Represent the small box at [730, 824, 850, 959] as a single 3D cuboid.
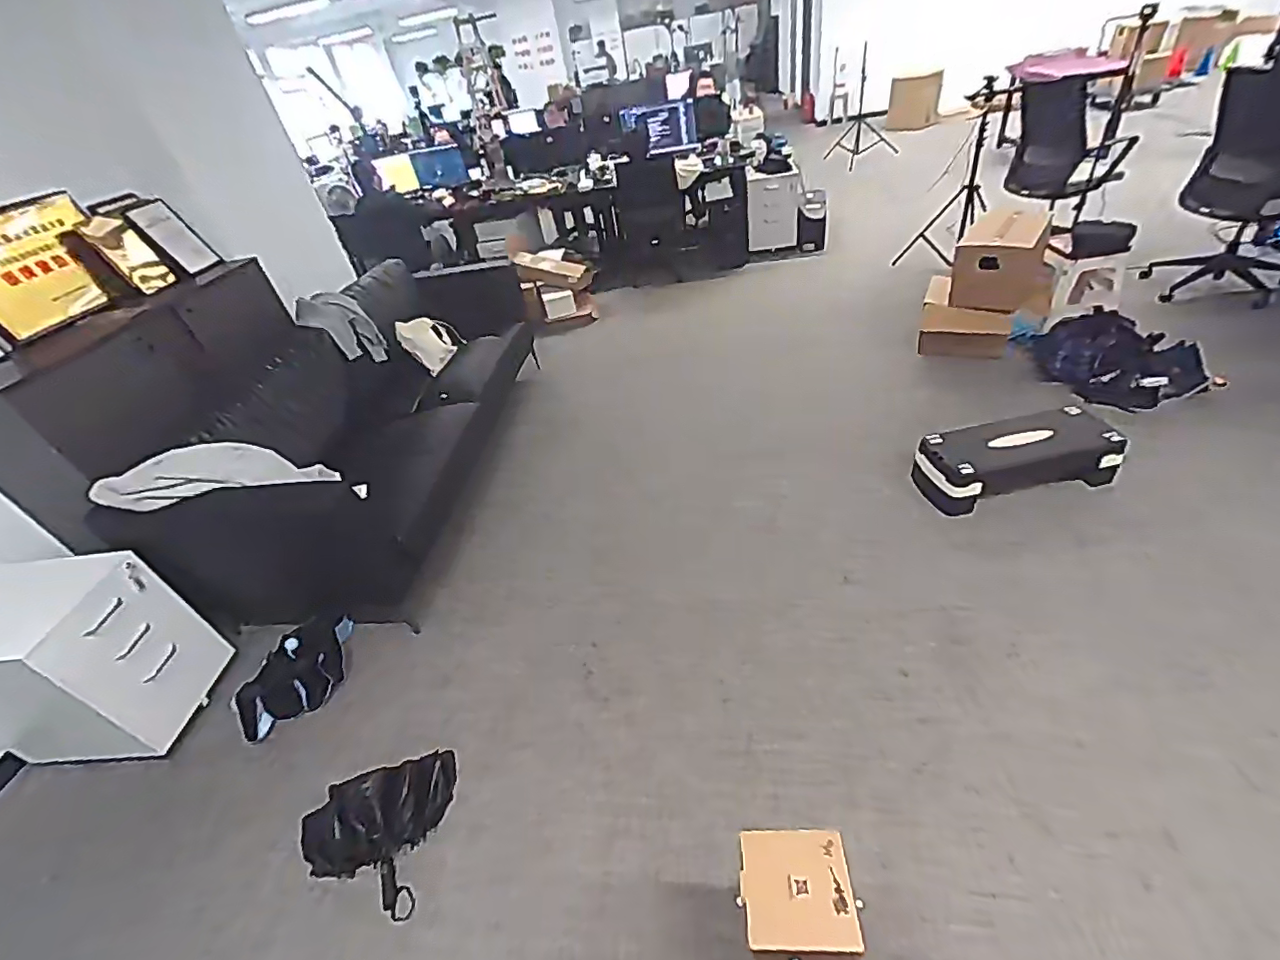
[{"bbox_3d":[0.258,0.725,0.947,0.179,0.176,0.168,-6,39,9],"label":"small box"}]
